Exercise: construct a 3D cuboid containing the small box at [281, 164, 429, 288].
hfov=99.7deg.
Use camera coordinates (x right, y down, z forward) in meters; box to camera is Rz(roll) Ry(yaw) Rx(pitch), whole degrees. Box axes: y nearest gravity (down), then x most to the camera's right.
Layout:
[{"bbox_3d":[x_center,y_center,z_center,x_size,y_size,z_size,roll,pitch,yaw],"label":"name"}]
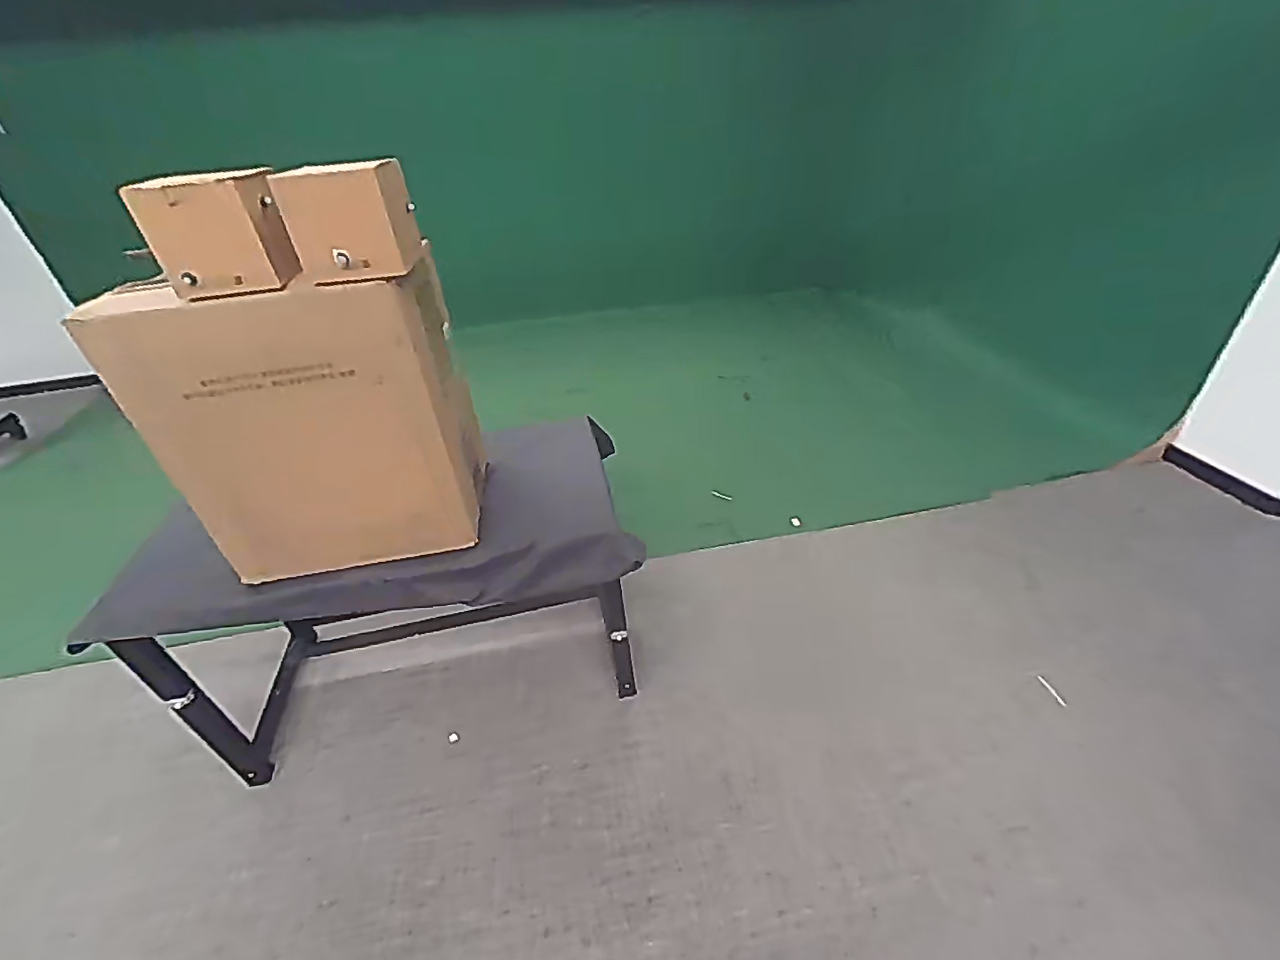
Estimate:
[{"bbox_3d":[-0.493,-0.456,0.969,0.168,0.176,0.179,-9,36,-5],"label":"small box"}]
